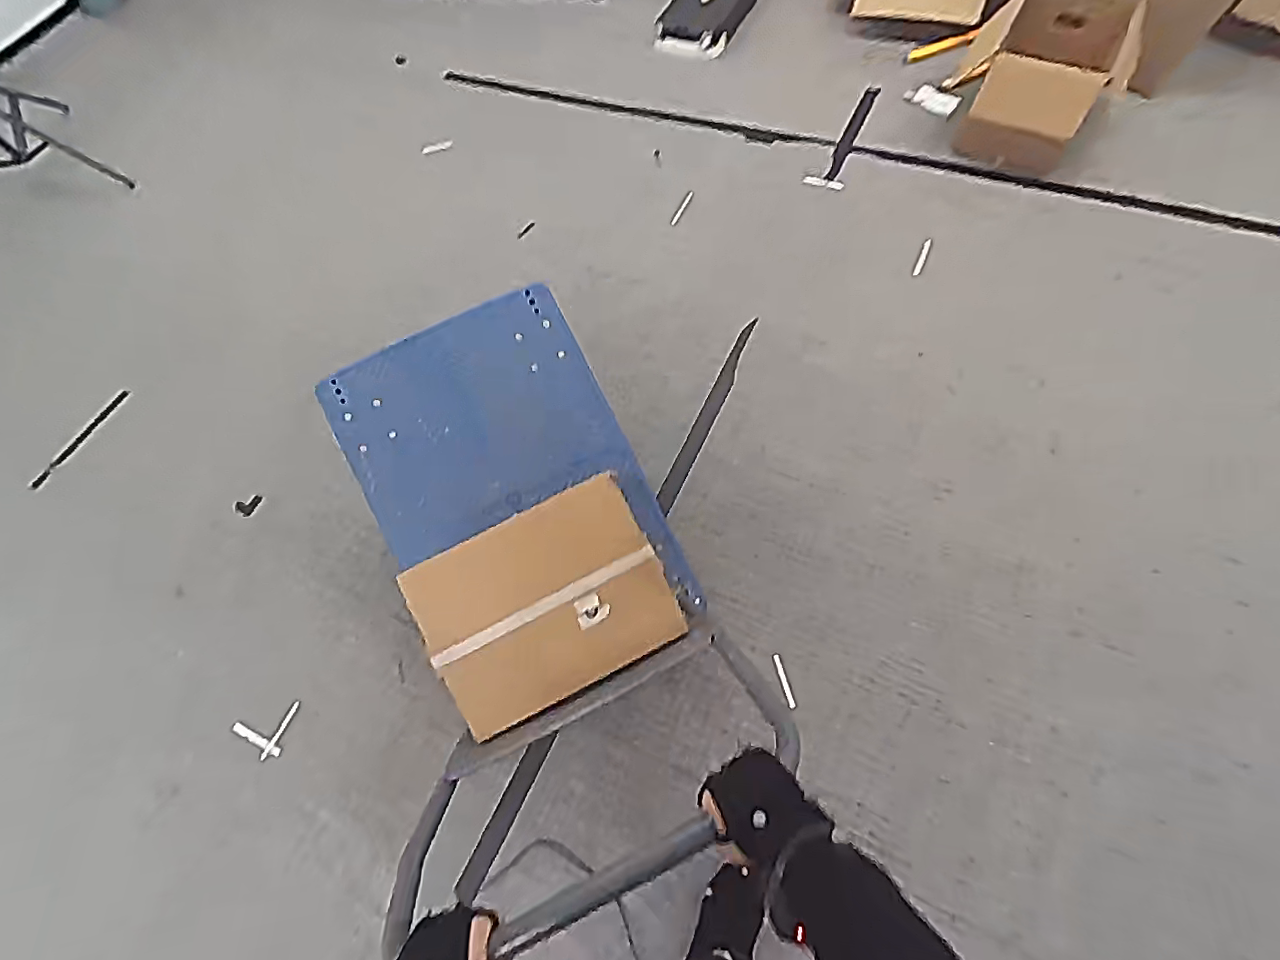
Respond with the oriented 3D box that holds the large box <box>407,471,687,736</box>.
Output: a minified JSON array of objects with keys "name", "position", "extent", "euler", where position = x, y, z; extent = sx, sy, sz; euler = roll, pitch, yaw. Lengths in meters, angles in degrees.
[{"name":"large box","position":[-0.170,0.223,1.086],"extent":[0.408,0.320,0.320],"euler":[-28,89,-6]}]
